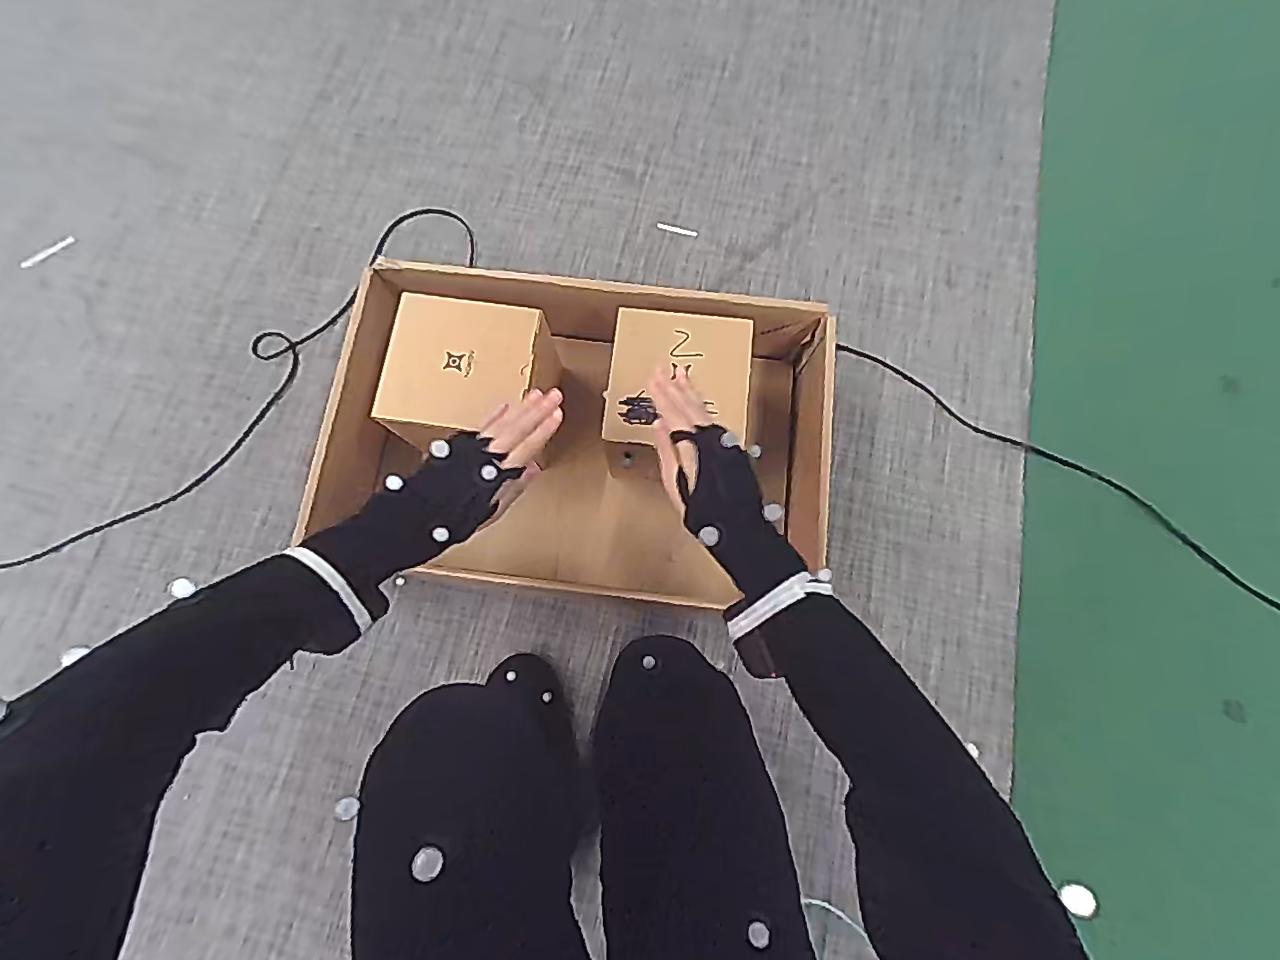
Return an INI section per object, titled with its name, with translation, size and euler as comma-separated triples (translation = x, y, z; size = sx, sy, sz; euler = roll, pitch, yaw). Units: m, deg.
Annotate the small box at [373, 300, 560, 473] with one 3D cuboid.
[small box]
translation = -0.216, -0.115, 0.724
size = 0.179, 0.176, 0.168
euler = 8, 77, 1
